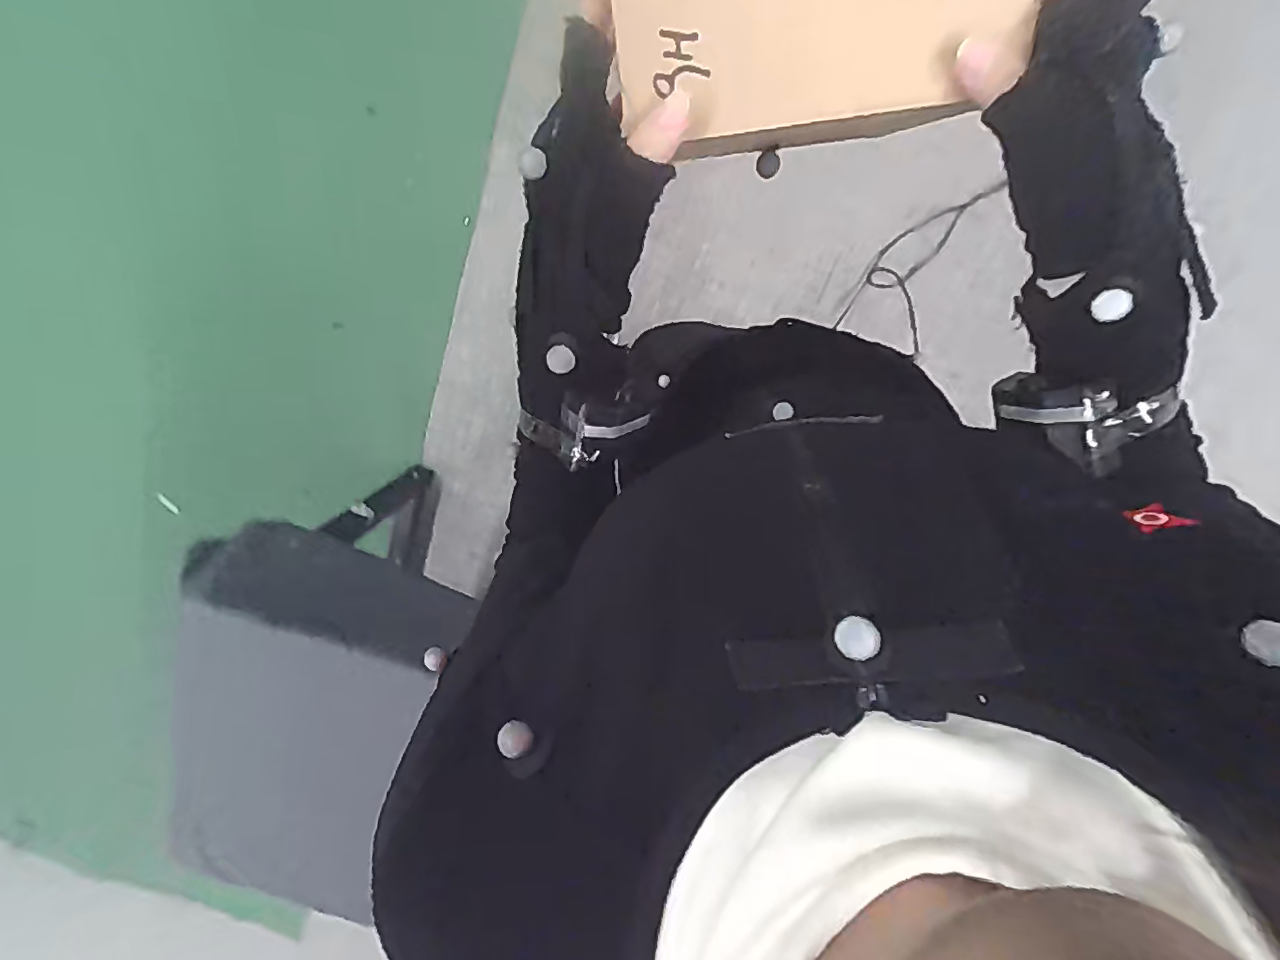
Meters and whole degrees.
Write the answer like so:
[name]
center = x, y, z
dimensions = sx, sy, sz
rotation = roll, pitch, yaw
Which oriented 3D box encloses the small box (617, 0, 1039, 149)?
[small box]
center = 0.074, -0.274, 0.272
dimensions = 0.179, 0.176, 0.168
rotation = -4, 117, 3
